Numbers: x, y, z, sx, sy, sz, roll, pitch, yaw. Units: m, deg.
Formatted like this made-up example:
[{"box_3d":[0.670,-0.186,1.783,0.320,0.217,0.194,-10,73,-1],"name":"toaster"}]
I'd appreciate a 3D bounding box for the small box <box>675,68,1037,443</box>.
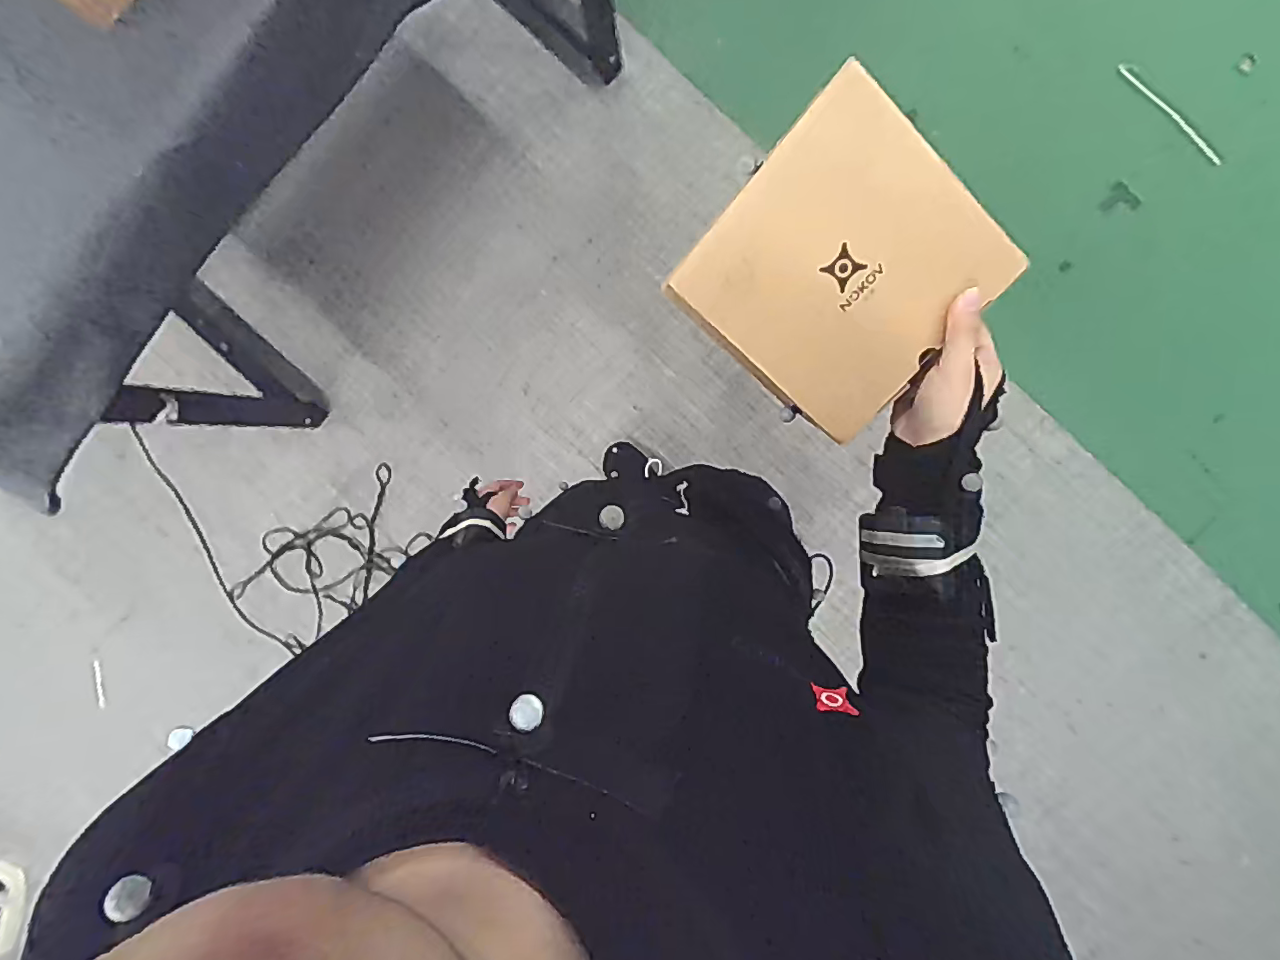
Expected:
[{"box_3d":[0.144,-0.159,0.431,0.179,0.176,0.168,40,104,-13],"name":"small box"}]
